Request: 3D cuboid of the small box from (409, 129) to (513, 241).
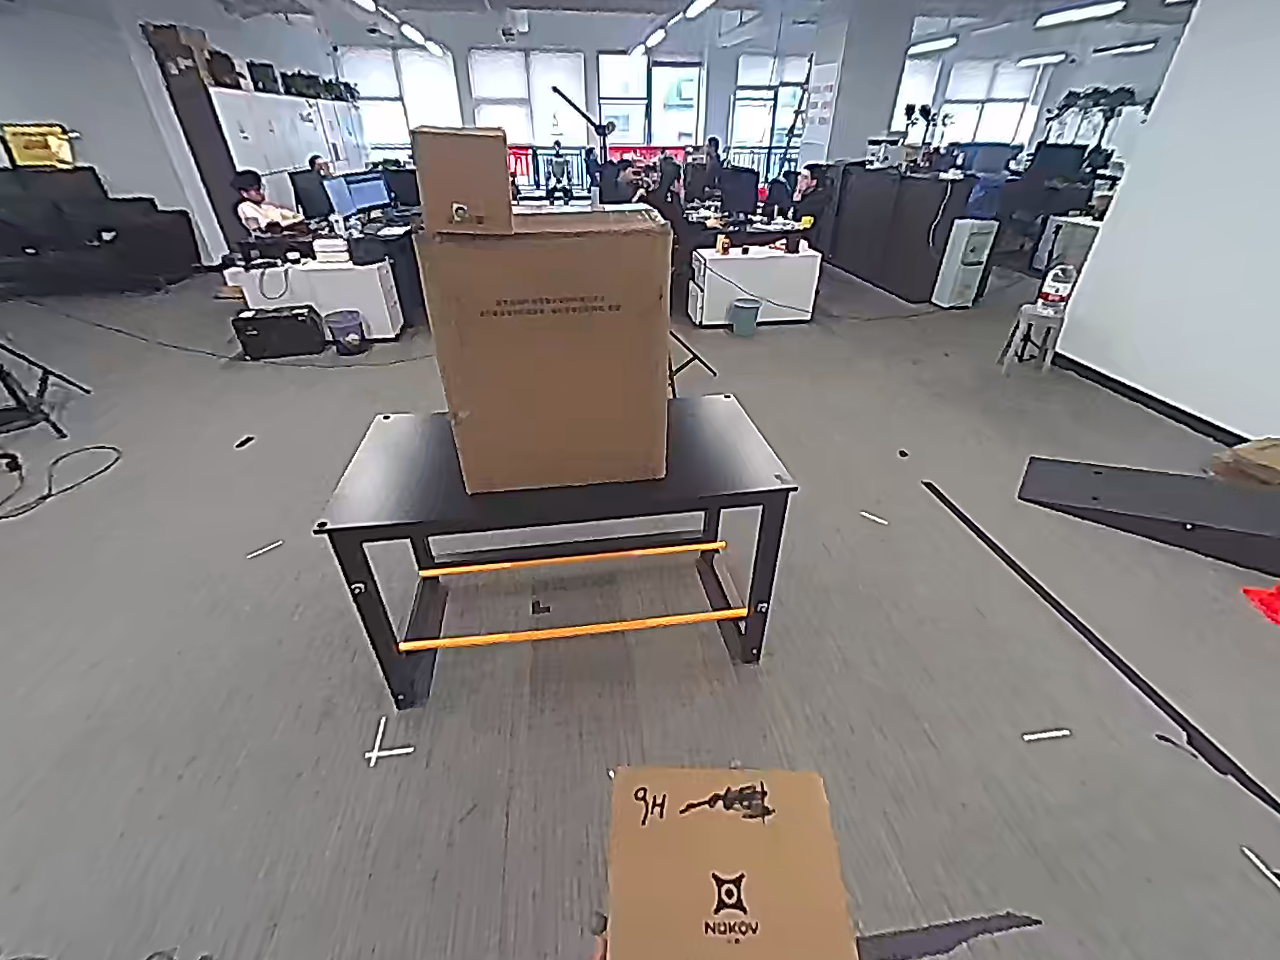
[{"bbox_3d":[-0.343,-0.581,1.063,0.168,0.176,0.179,-6,37,-12],"label":"small box"}]
